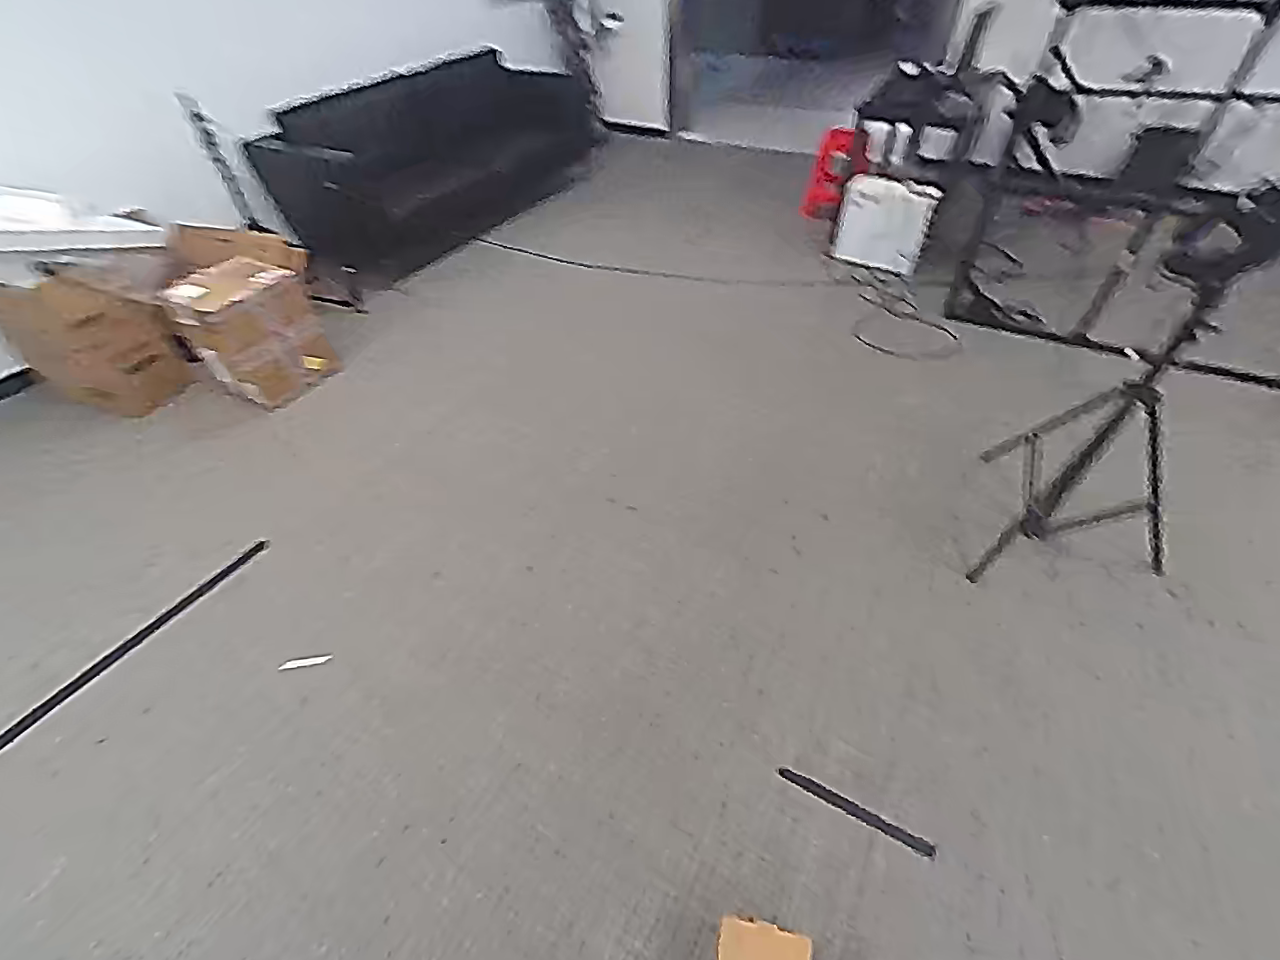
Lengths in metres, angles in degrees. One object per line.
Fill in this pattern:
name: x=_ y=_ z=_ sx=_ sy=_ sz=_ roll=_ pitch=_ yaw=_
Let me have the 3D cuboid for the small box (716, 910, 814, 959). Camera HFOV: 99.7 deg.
small box: x=0.224 y=0.938 z=1.004 sx=0.168 sy=0.176 sz=0.179 roll=7 pitch=47 yaw=11
